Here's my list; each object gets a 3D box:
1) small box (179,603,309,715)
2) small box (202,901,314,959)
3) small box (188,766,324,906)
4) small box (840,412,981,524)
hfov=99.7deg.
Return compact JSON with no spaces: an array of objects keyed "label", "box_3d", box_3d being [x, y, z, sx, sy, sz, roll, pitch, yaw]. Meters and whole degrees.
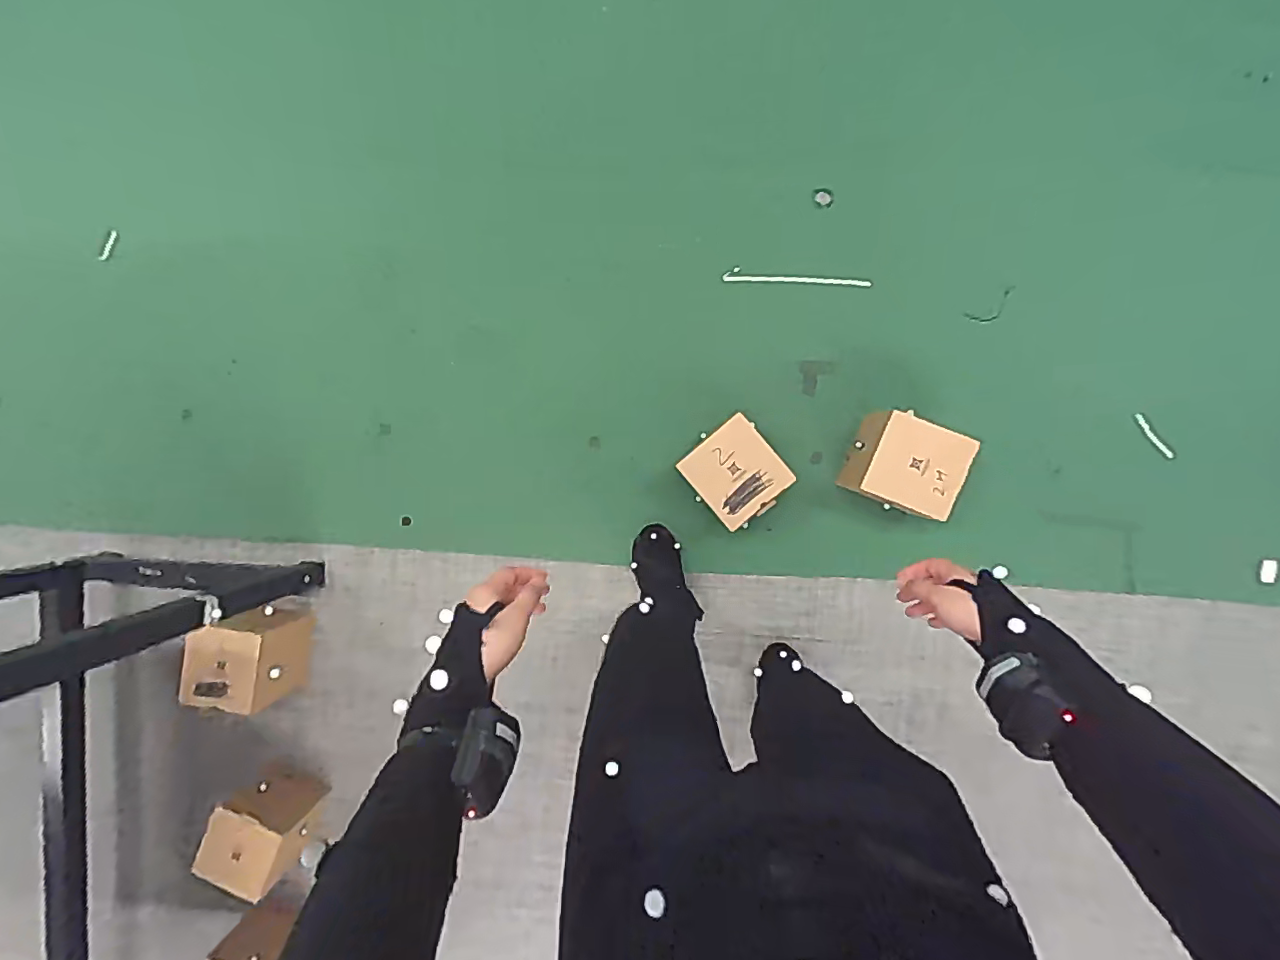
[{"label":"small box","box_3d":[-0.882,0.395,1.219,0.168,0.176,0.179,9,92,3]},{"label":"small box","box_3d":[-0.897,1.146,1.257,0.168,0.176,0.179,15,94,3]},{"label":"small box","box_3d":[-0.866,0.801,1.238,0.168,0.176,0.179,23,95,3]},{"label":"small box","box_3d":[0.536,-0.025,1.101,0.179,0.176,0.168,22,94,2]}]
